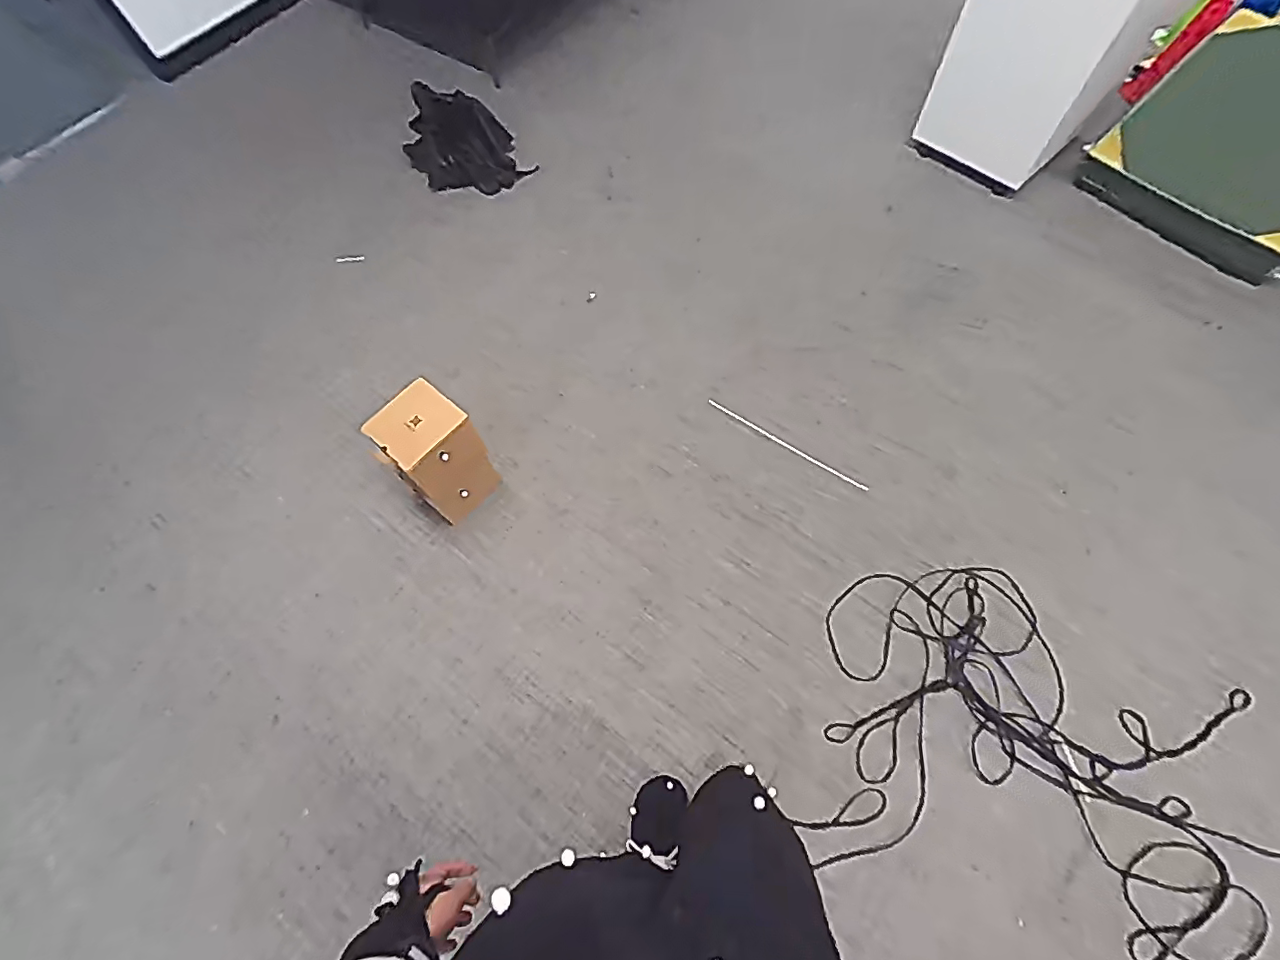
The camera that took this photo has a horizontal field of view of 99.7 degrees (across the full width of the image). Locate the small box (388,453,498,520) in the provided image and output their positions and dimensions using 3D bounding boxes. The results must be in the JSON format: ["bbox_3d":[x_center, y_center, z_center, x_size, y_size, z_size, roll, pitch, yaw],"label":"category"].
[{"bbox_3d":[-0.492,-0.024,1.381,0.168,0.176,0.179,37,73,17],"label":"small box"}]

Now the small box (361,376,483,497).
[{"bbox_3d":[-0.482,-0.094,1.233,0.168,0.176,0.179,38,73,17],"label":"small box"}]
